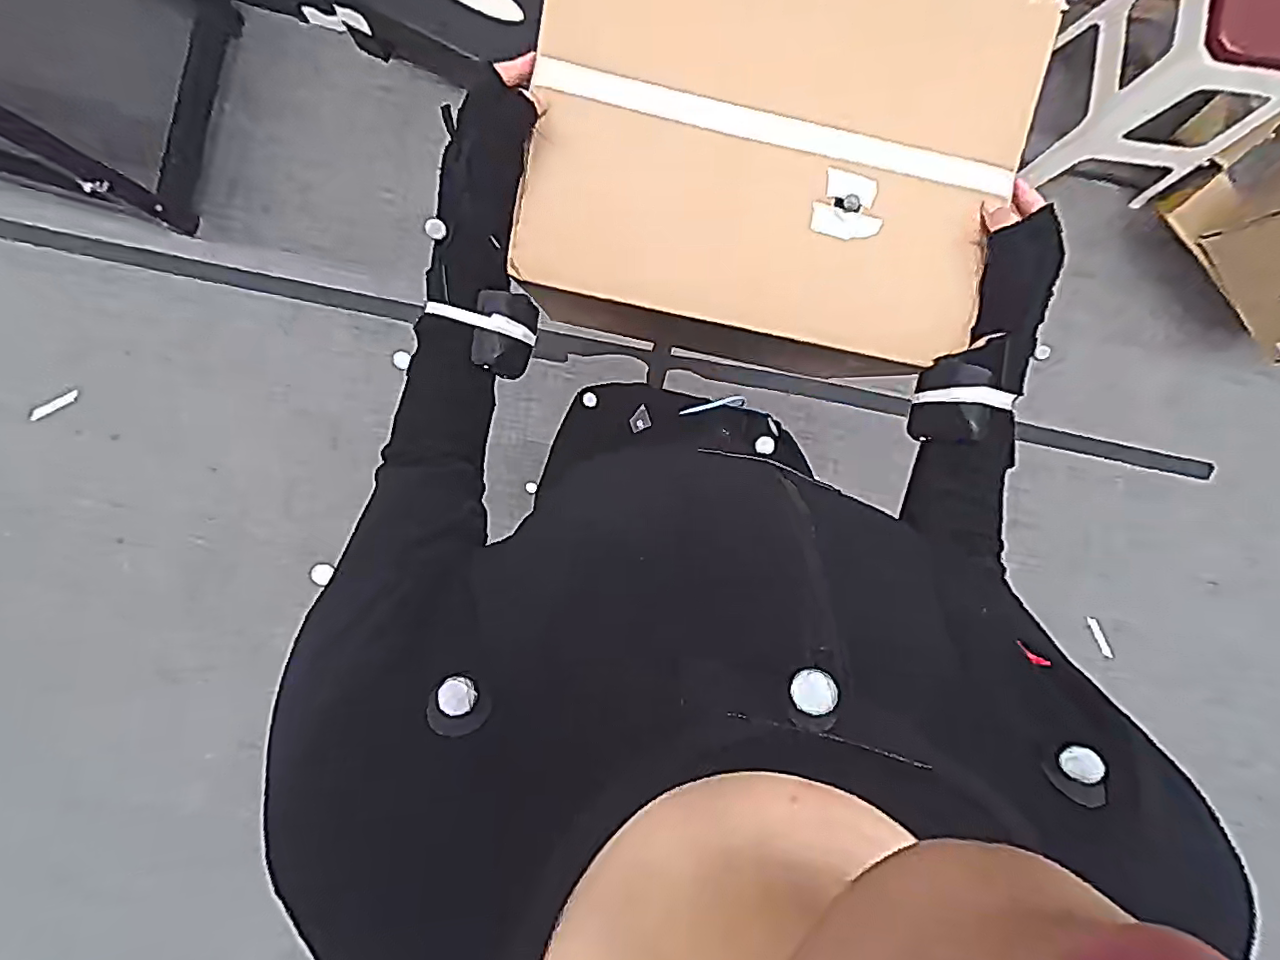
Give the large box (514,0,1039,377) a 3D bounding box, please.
[{"bbox_3d":[0.101,-0.306,0.600,0.408,0.320,0.320,11,100,-6],"label":"large box"}]
